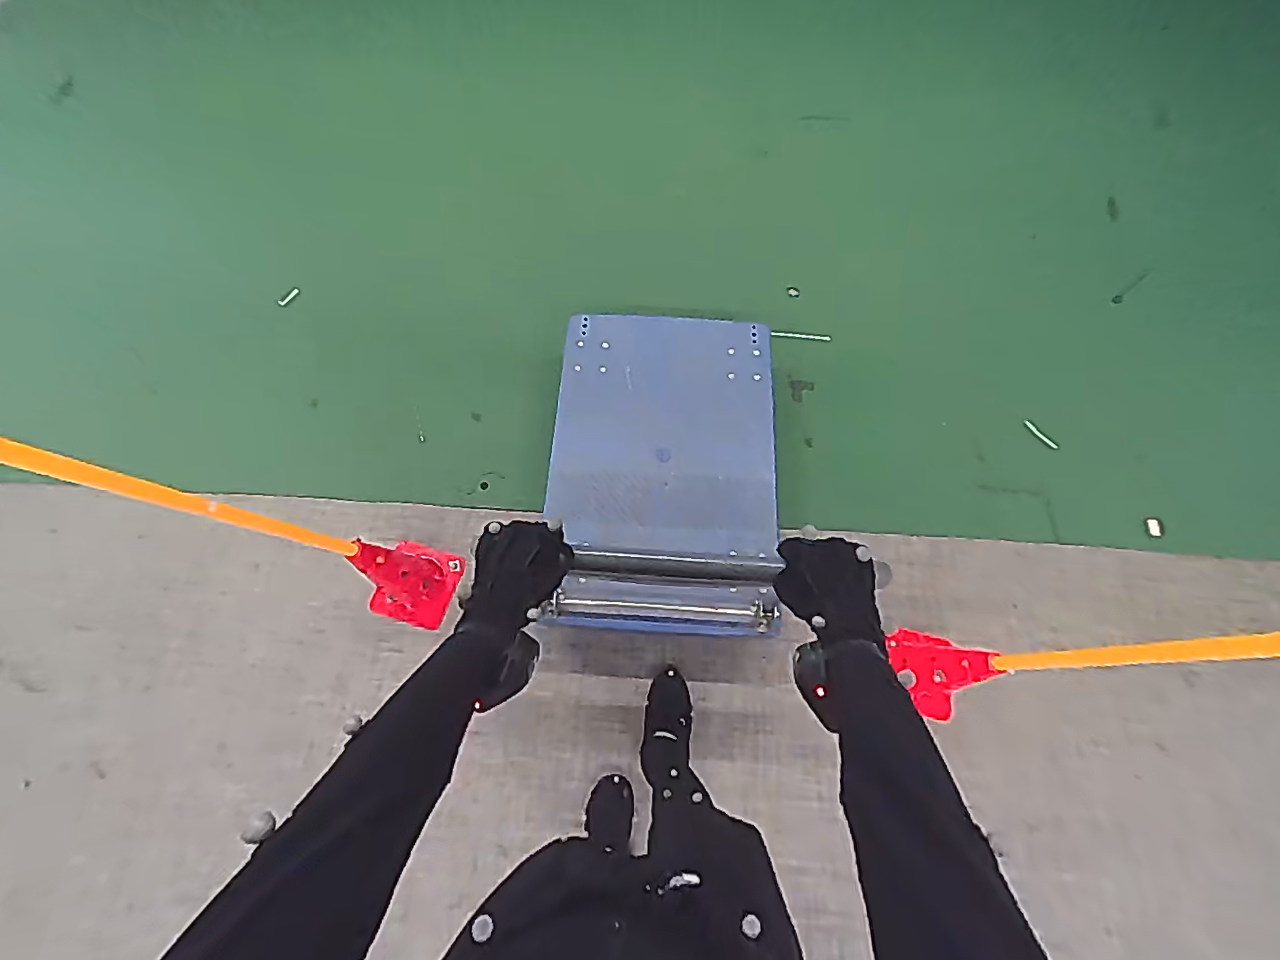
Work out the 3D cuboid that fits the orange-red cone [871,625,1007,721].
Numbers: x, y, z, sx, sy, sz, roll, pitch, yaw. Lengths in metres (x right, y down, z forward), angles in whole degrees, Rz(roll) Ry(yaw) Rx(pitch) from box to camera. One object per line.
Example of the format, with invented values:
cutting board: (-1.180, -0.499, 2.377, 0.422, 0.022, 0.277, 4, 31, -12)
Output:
orange-red cone: (0.682, 0.415, 1.188, 0.198, 0.360, 0.199, 14, 70, 6)
